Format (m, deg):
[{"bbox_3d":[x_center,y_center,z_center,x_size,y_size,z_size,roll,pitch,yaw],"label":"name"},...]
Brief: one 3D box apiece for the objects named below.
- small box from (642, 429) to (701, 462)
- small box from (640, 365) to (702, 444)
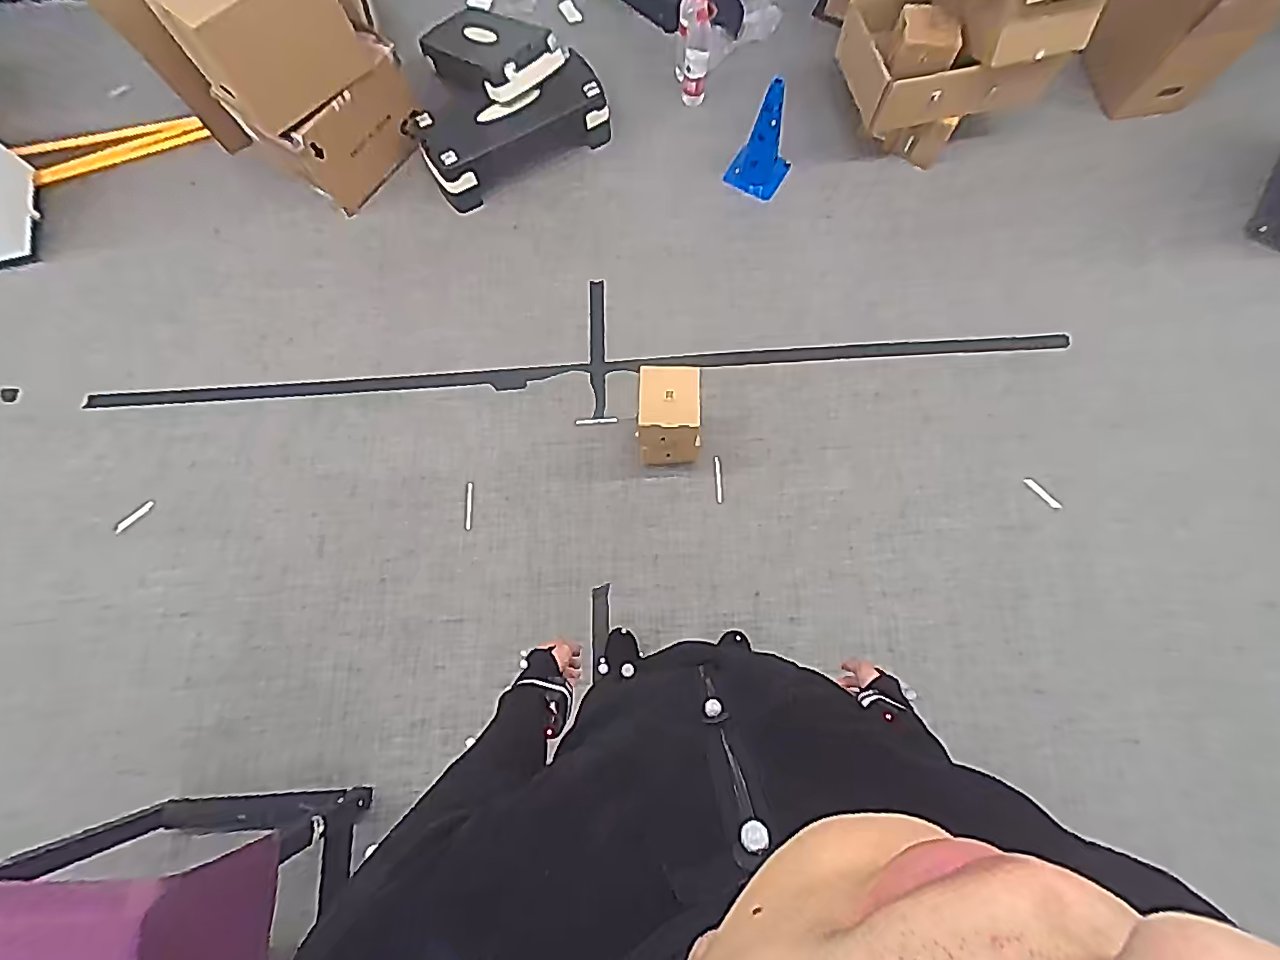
[{"bbox_3d":[0.093,-0.160,1.695,0.179,0.176,0.168,-4,75,1],"label":"small box"},{"bbox_3d":[0.085,-0.211,1.541,0.168,0.176,0.179,1,76,1],"label":"small box"}]
